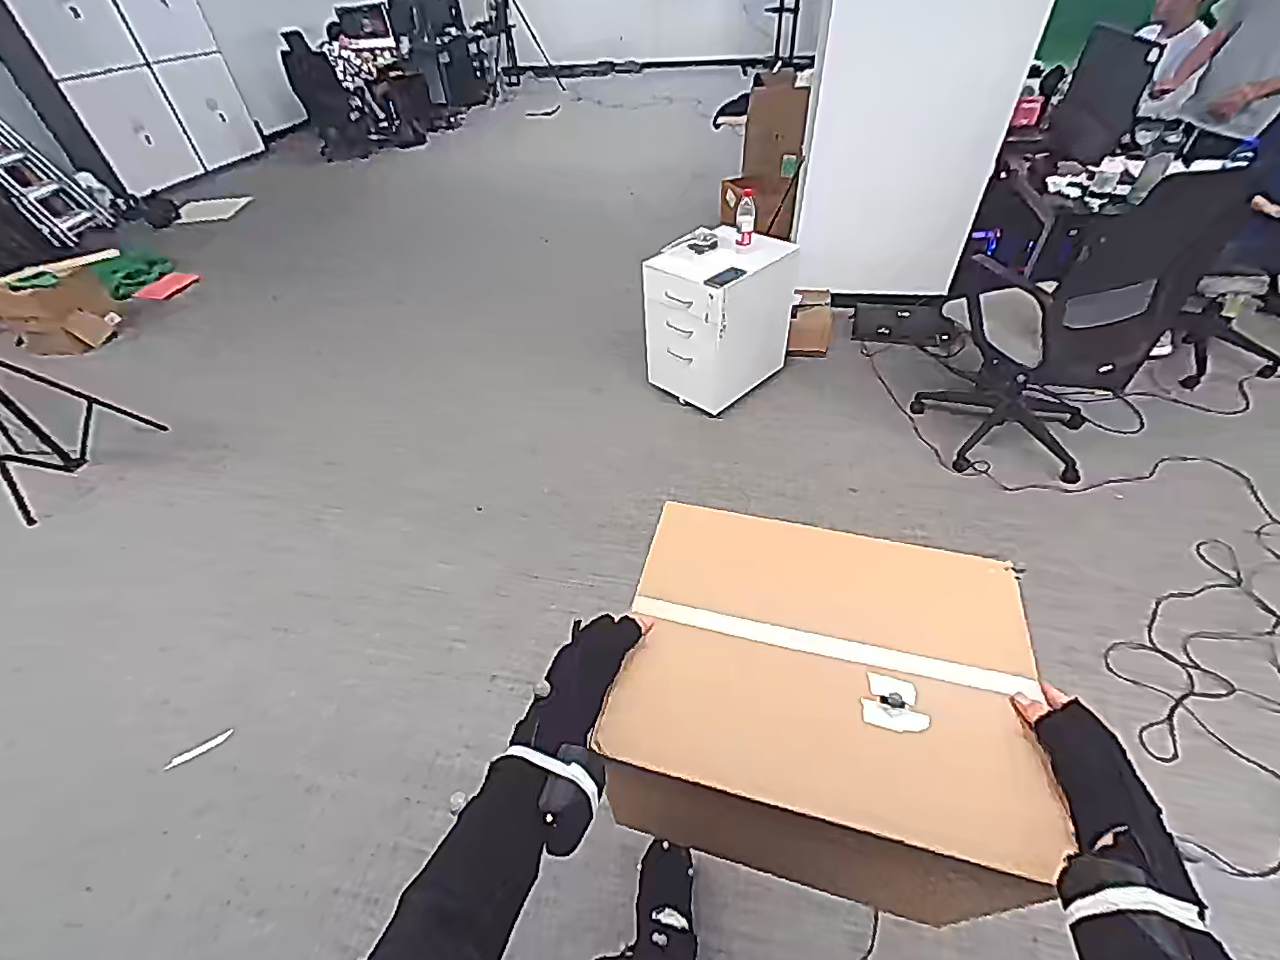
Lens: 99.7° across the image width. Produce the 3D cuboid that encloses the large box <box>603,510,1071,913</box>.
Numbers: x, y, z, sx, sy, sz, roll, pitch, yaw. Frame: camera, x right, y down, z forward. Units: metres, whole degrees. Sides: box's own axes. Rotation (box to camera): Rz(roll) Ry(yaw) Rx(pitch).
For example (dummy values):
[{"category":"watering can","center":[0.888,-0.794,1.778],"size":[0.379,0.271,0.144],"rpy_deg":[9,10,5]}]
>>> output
[{"category":"large box","center":[0.194,0.279,0.674],"size":[0.408,0.320,0.320],"rpy_deg":[10,49,11]}]
